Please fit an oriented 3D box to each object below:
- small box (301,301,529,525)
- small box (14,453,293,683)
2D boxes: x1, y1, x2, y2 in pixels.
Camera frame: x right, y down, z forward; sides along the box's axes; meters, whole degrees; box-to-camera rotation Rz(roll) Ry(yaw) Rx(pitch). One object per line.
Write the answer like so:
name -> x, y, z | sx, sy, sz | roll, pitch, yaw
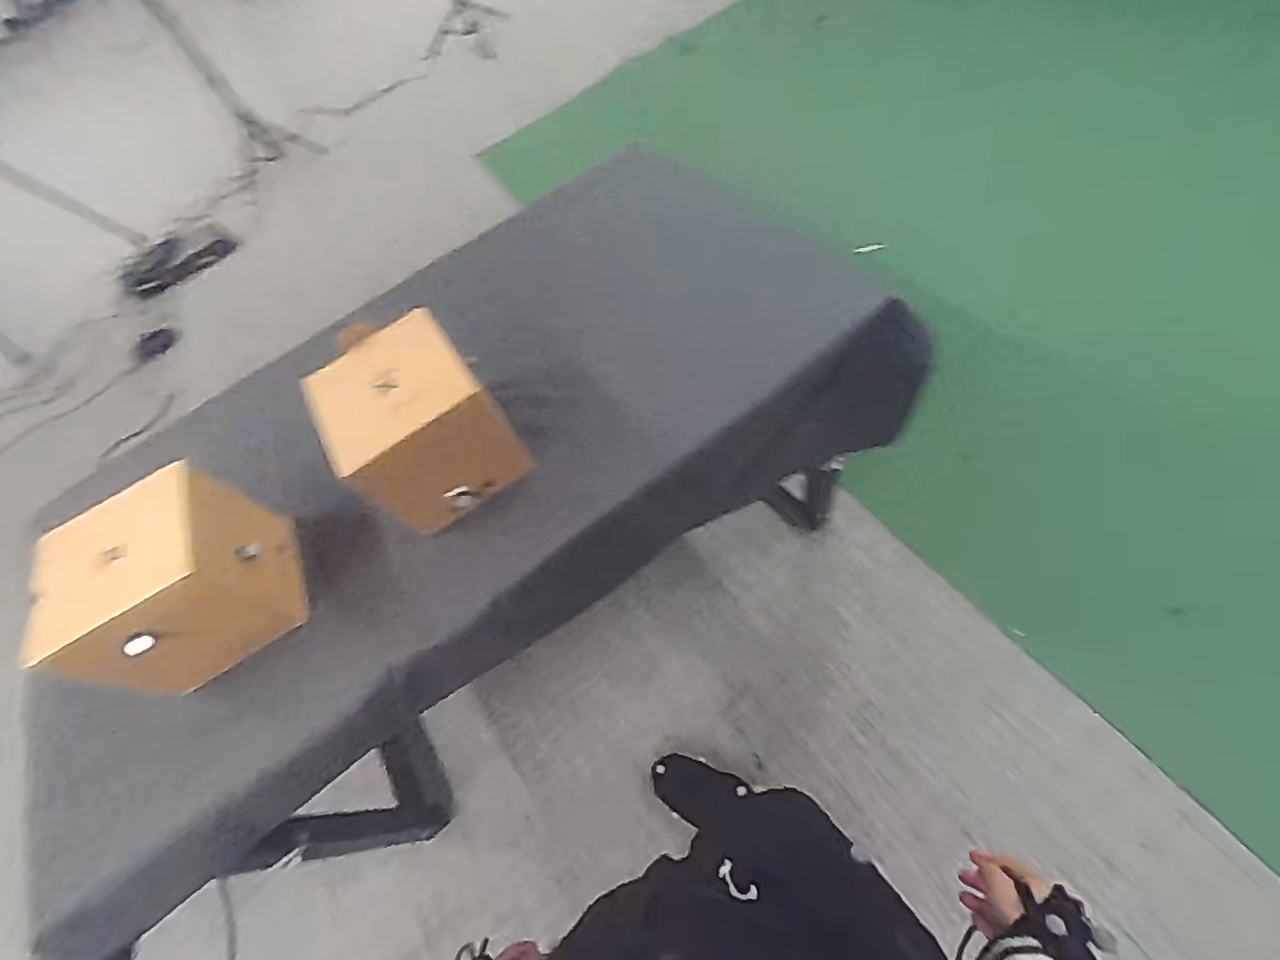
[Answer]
small box -> -0.266, -0.076, 0.665 | 0.168, 0.176, 0.179 | -36, 61, -7
small box -> -0.534, 0.107, 0.621 | 0.179, 0.176, 0.168 | -31, 60, -6
